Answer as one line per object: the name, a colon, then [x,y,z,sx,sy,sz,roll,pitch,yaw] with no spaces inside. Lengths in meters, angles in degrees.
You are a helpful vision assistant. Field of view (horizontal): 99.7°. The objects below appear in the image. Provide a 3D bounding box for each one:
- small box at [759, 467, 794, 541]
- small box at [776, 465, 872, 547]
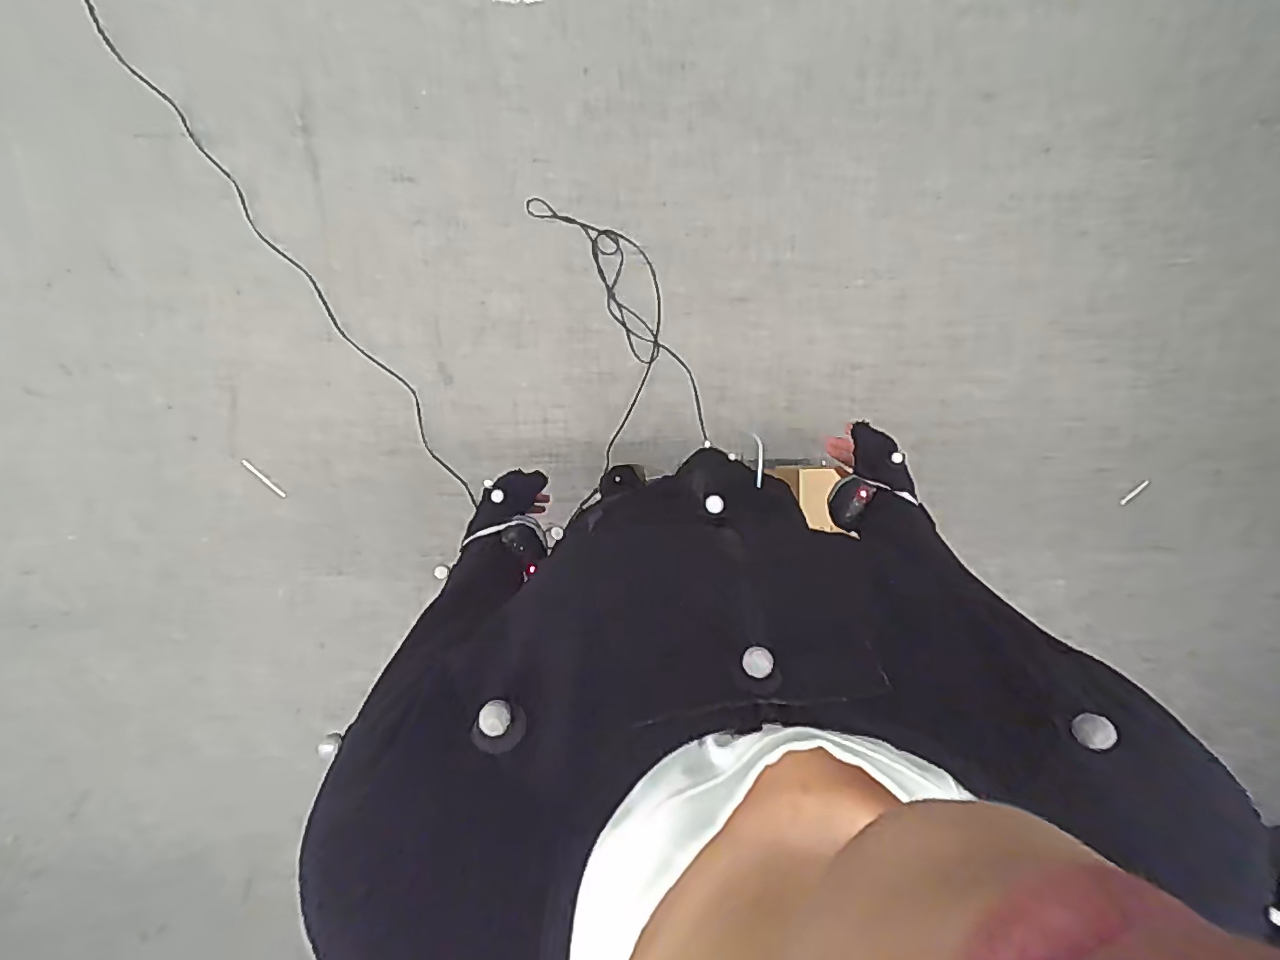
small box: [0.415,0.061,1.421,0.168,0.176,0.179,2,94,-3]
small box: [0.419,0.053,1.256,0.168,0.176,0.179,-1,94,-3]
